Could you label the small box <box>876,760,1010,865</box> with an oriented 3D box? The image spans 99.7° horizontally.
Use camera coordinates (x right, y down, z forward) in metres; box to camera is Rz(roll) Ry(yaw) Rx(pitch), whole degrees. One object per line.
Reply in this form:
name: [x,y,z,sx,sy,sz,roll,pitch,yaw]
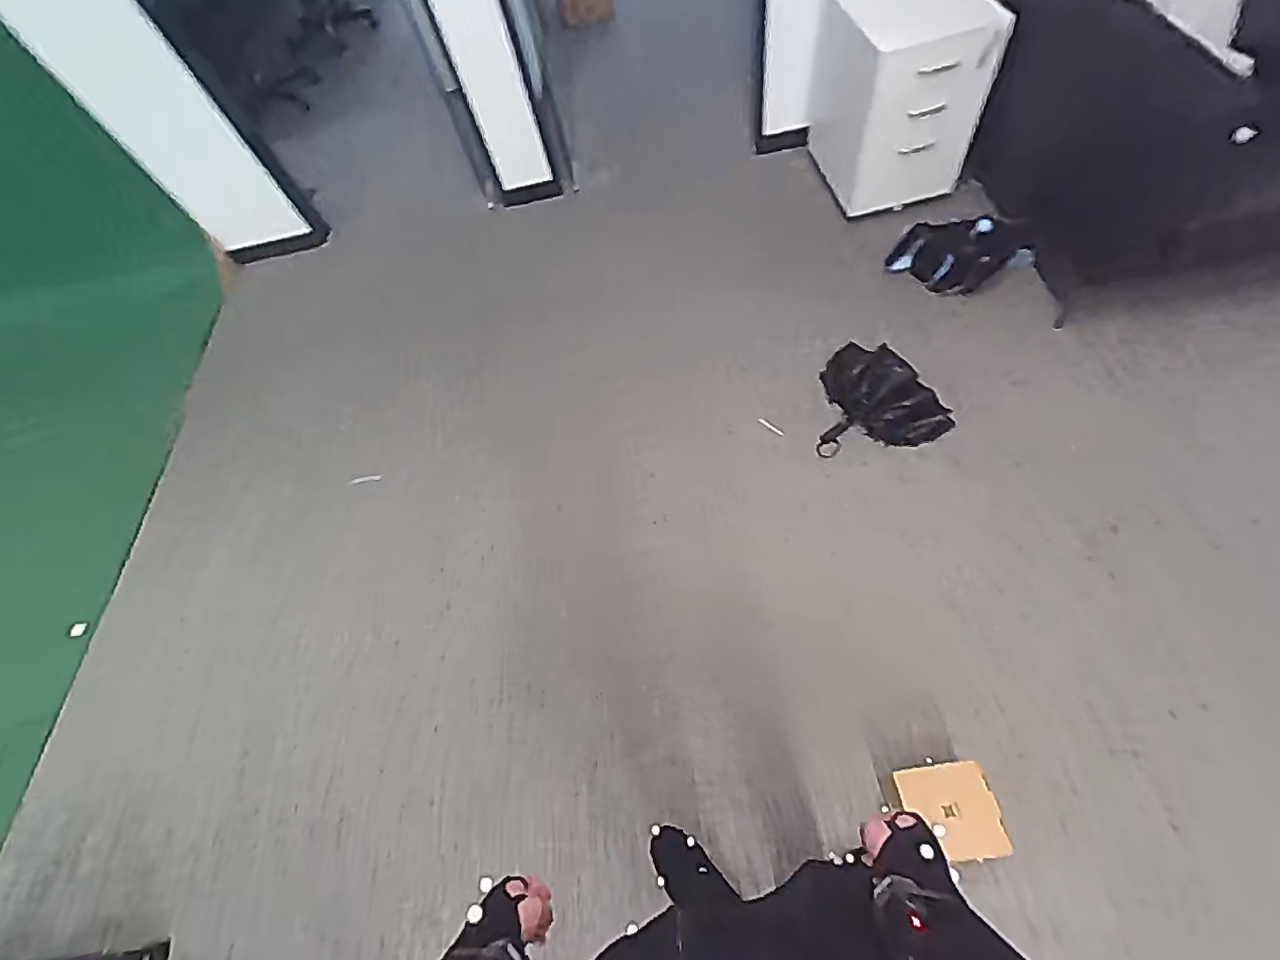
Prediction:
small box: [0.630,0.701,1.149,0.179,0.176,0.168,-12,58,5]
